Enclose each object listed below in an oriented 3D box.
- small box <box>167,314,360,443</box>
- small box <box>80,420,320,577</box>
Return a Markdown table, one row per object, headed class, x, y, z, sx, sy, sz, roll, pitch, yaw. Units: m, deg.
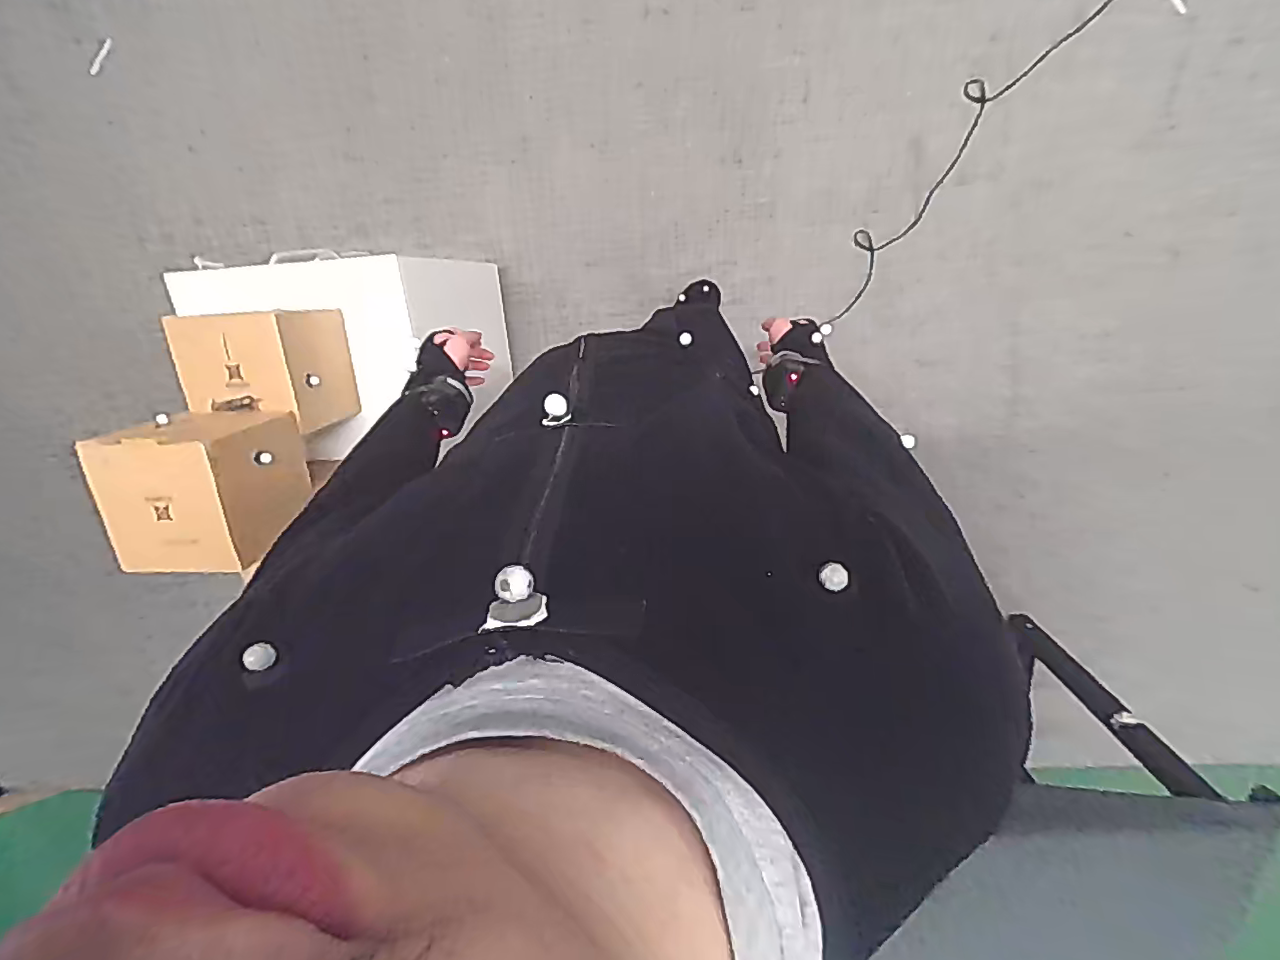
| class | x | y | z | sx | sy | sz | roll | pitch | yaw |
| --- | --- | --- | --- | --- | --- | --- | --- | --- | --- |
| small box | -0.572 | -0.164 | 0.851 | 0.168 | 0.176 | 0.179 | 0 | 109 | 3 |
| small box | -0.582 | 0.017 | 0.745 | 0.168 | 0.176 | 0.179 | 0 | 111 | 5 |
